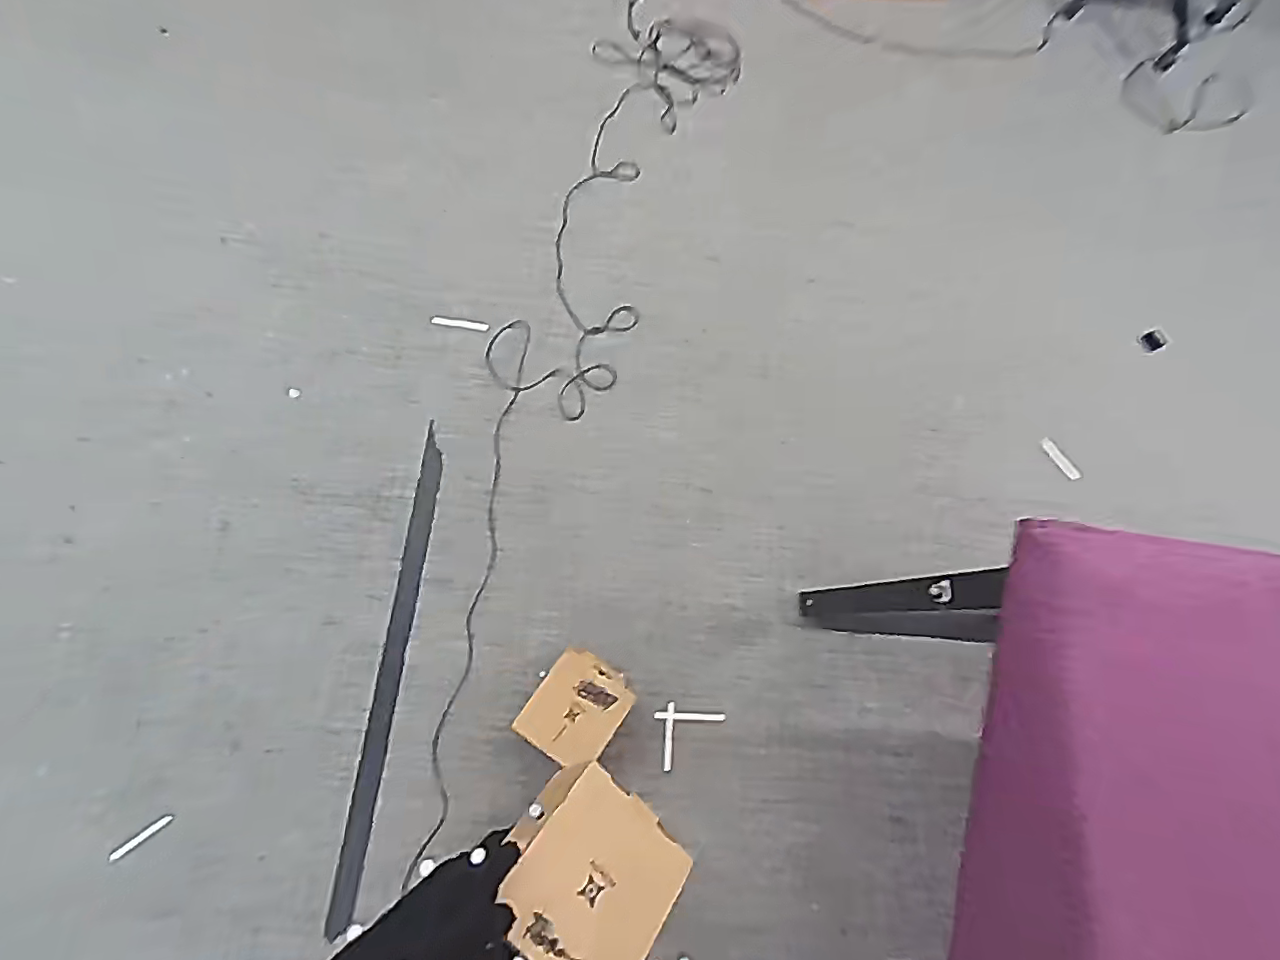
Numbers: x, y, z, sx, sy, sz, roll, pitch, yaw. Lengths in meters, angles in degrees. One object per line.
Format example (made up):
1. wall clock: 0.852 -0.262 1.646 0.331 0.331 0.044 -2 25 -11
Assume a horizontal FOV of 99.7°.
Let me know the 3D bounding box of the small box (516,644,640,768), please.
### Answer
1. small box: -0.123 0.445 1.077 0.168 0.176 0.179 36 75 4

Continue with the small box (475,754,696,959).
1. small box: -0.071 0.461 0.635 0.168 0.176 0.179 42 51 5
